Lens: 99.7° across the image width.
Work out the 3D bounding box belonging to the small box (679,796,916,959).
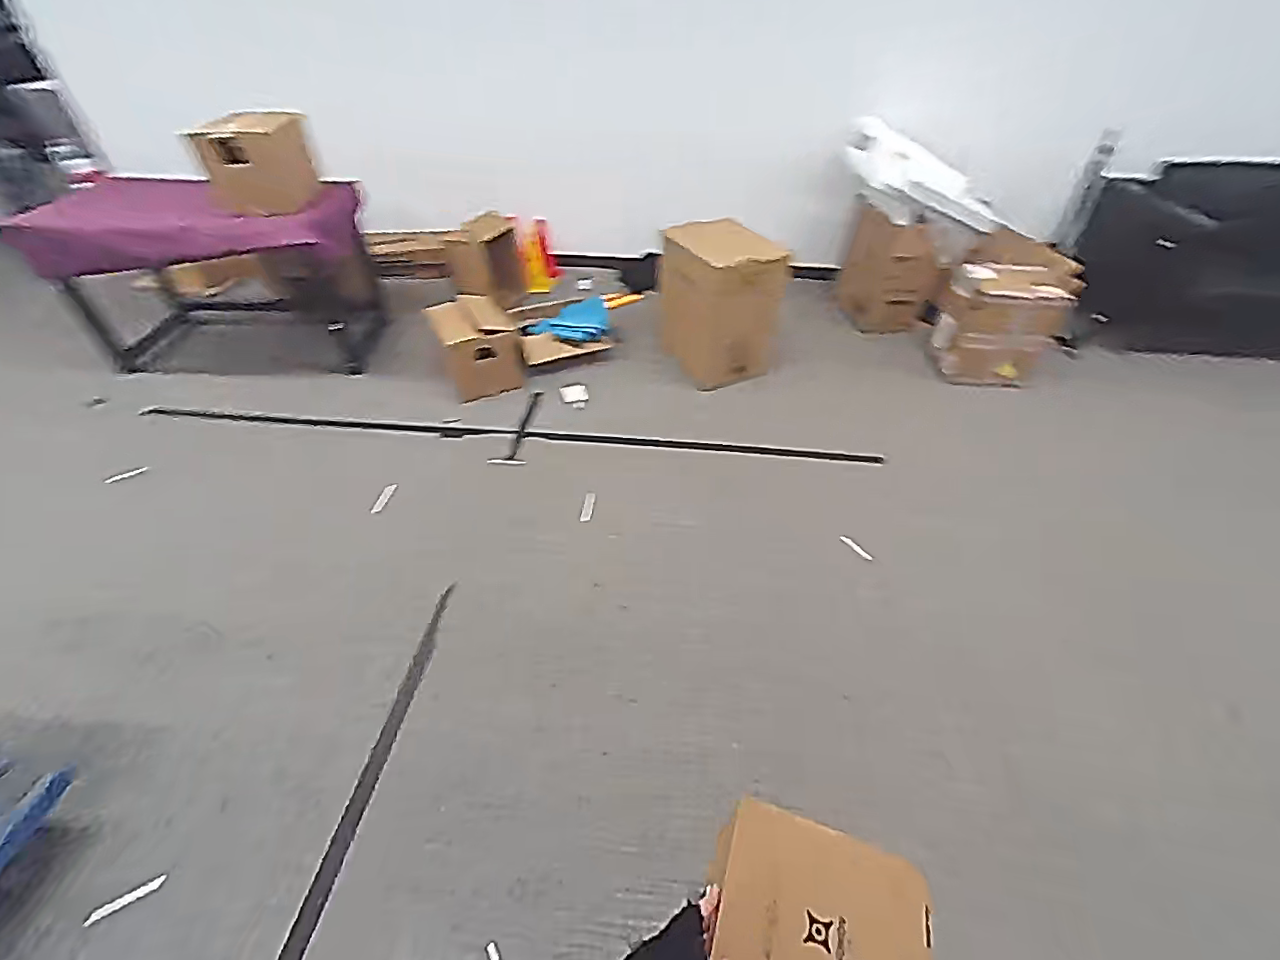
[{"bbox_3d":[0.136,0.437,0.504,0.179,0.176,0.168,14,41,11],"label":"small box"}]
